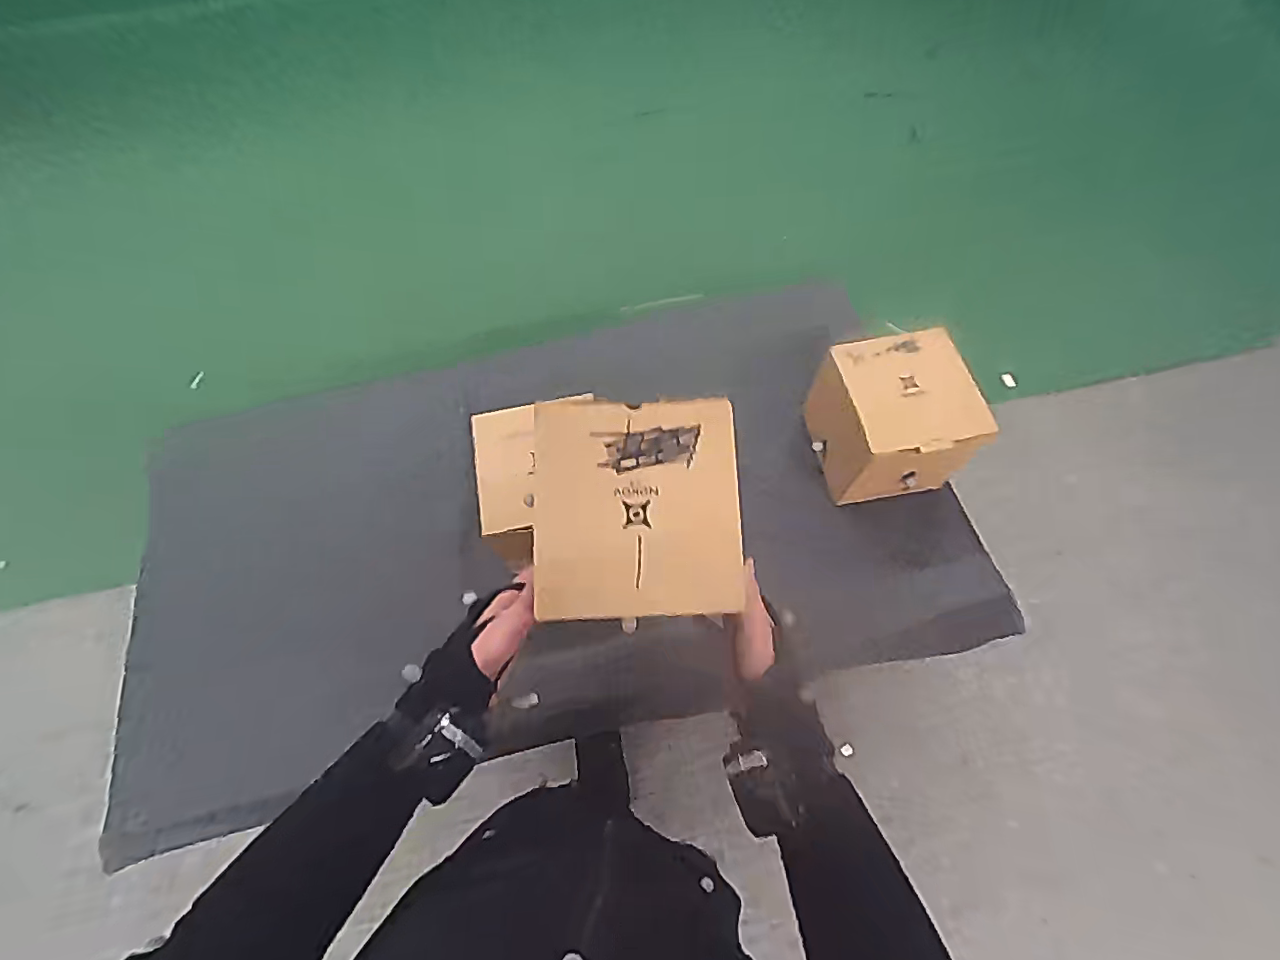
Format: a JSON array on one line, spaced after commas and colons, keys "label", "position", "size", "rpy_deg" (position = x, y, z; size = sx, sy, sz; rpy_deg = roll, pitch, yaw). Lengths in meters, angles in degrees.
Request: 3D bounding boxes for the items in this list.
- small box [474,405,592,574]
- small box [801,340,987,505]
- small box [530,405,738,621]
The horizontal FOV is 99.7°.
[{"label": "small box", "position": [-0.123, 0.024, 0.765], "size": [0.168, 0.176, 0.179], "rpy_deg": [-12, 64, -5]}, {"label": "small box", "position": [0.355, -0.074, 0.795], "size": [0.168, 0.176, 0.179], "rpy_deg": [-10, 66, -3]}, {"label": "small box", "position": [-0.012, 0.040, 0.515], "size": [0.168, 0.176, 0.179], "rpy_deg": [-2, 78, -4]}]
